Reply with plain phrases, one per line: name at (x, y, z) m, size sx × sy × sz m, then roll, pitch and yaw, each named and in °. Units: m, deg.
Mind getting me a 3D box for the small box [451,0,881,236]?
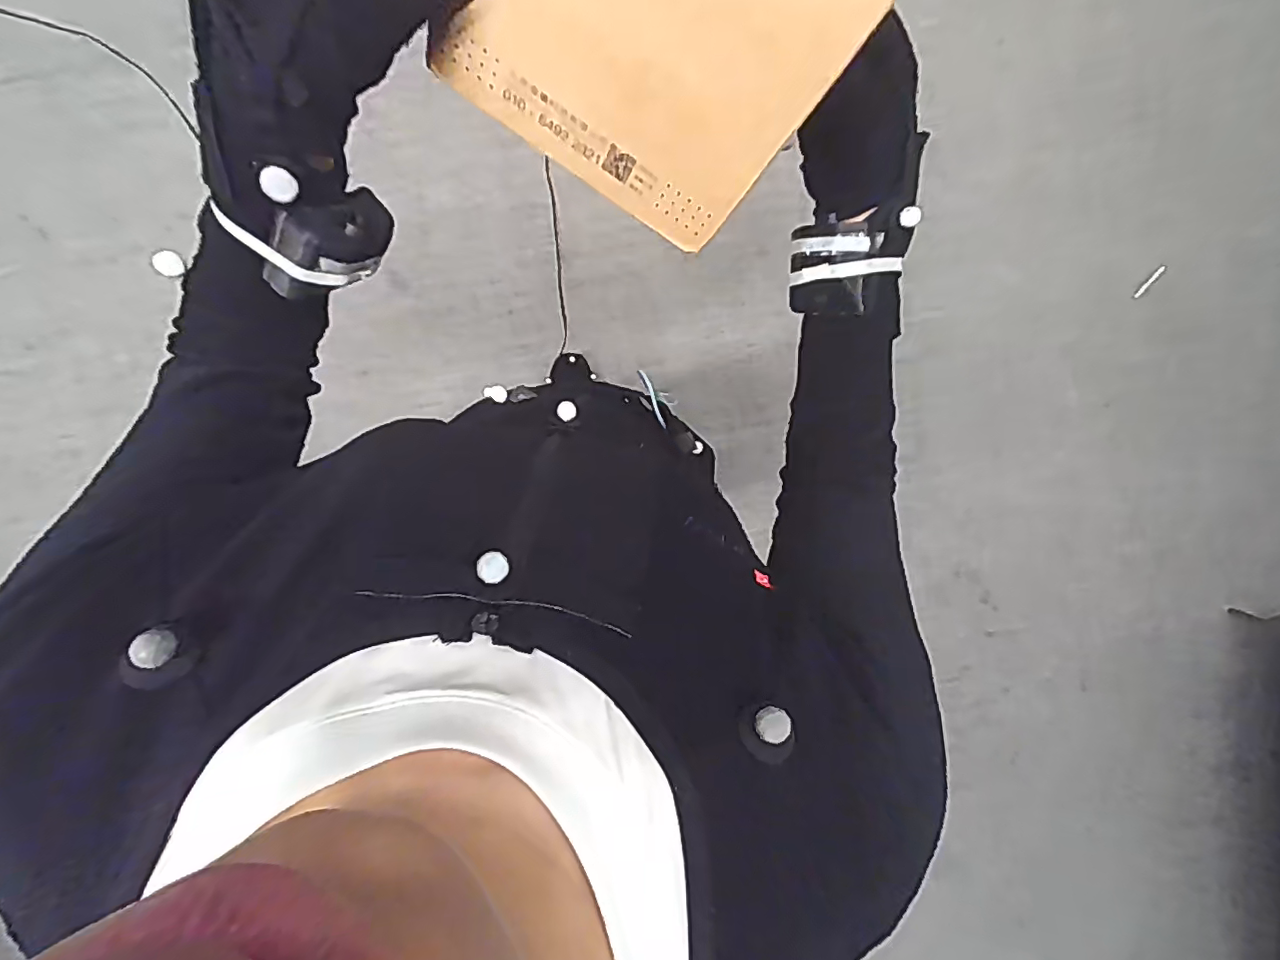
small box at (0.026, -0.269, 0.267) m, size 0.168 × 0.176 × 0.179 m, roll 30°, pitch 59°, yaw -14°
